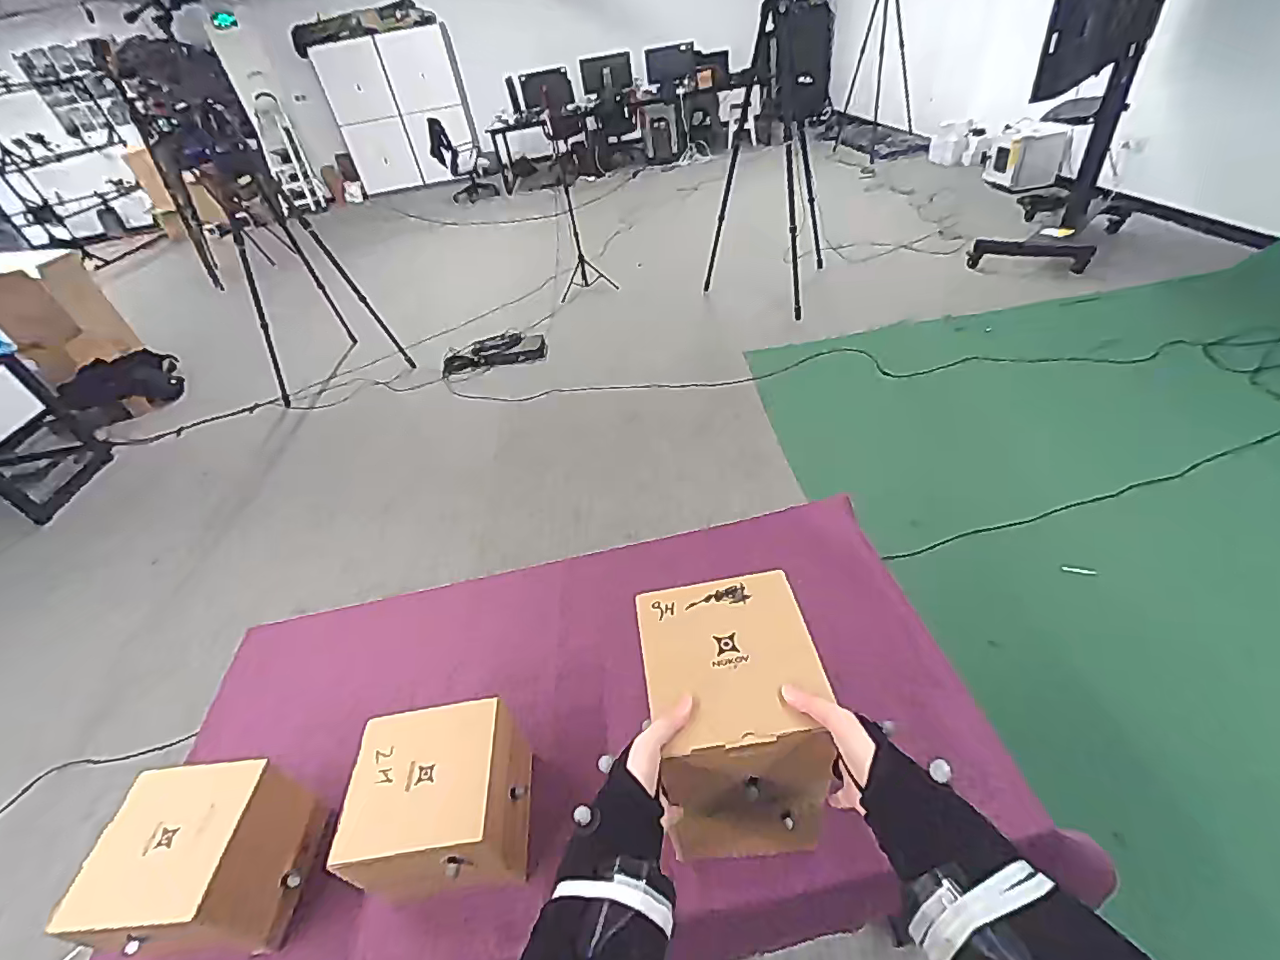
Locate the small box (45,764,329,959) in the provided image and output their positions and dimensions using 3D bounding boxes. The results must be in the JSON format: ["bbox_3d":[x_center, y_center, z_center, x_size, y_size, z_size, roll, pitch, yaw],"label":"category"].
[{"bbox_3d":[-0.542,0.483,0.681,0.179,0.176,0.168,-7,40,4],"label":"small box"}]

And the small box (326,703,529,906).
[{"bbox_3d":[-0.250,0.415,0.692,0.179,0.176,0.168,-10,39,1],"label":"small box"}]

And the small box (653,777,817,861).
[{"bbox_3d":[0.111,0.356,0.680,0.179,0.176,0.168,-7,40,4],"label":"small box"}]

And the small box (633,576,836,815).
[{"bbox_3d":[0.091,0.233,0.574,0.168,0.176,0.179,-10,41,0],"label":"small box"}]
